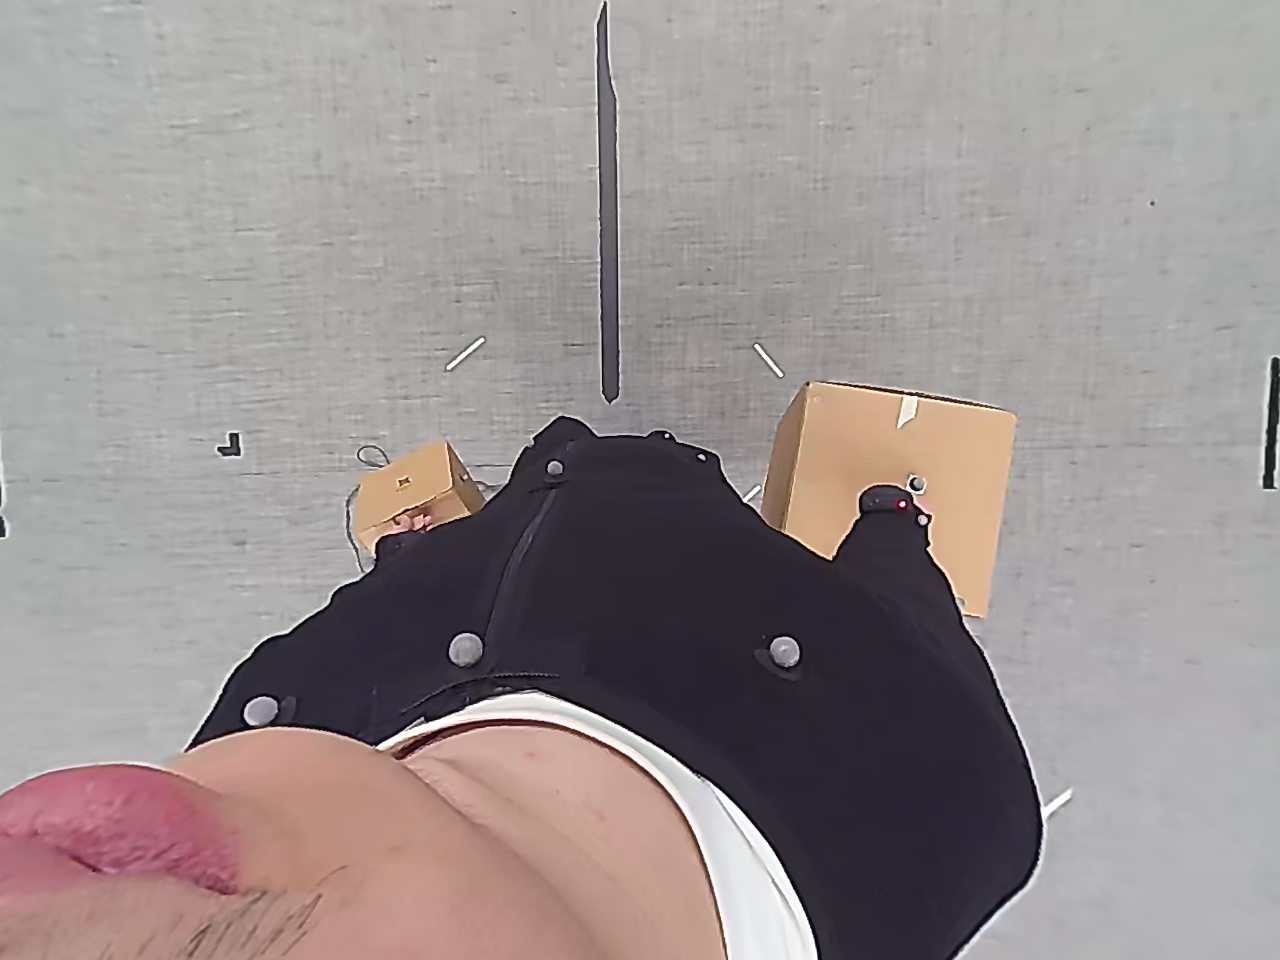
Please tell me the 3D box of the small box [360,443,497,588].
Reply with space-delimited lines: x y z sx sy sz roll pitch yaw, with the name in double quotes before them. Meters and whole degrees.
"small box" -0.374 0.069 0.973 0.168 0.179 0.176 -26 128 -7
